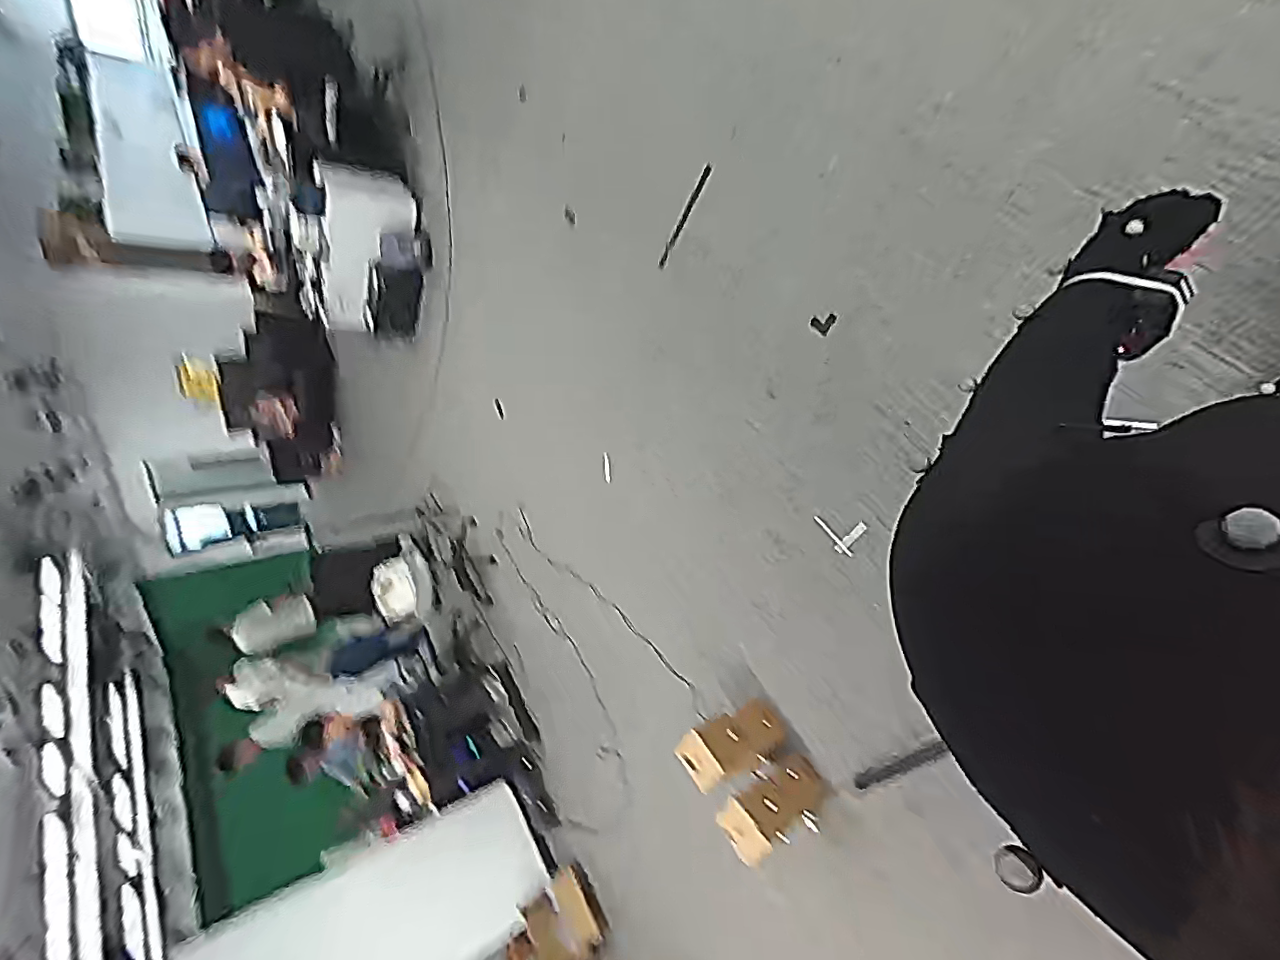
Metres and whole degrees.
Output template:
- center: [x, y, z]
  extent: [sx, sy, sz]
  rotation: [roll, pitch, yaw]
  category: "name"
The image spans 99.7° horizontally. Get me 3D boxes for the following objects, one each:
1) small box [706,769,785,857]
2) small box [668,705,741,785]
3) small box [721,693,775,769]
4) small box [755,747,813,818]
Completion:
- center: [0.362, 1.122, 1.834]
  extent: [0.168, 0.176, 0.179]
  rotation: [48, 131, 32]
  category: "small box"
- center: [0.235, 0.948, 1.945]
  extent: [0.168, 0.176, 0.179]
  rotation: [49, 130, 31]
  category: "small box"
- center: [0.375, 0.939, 2.035]
  extent: [0.168, 0.176, 0.179]
  rotation: [48, 131, 32]
  category: "small box"
- center: [0.489, 1.095, 1.936]
  extent: [0.168, 0.176, 0.179]
  rotation: [52, 134, 30]
  category: "small box"
